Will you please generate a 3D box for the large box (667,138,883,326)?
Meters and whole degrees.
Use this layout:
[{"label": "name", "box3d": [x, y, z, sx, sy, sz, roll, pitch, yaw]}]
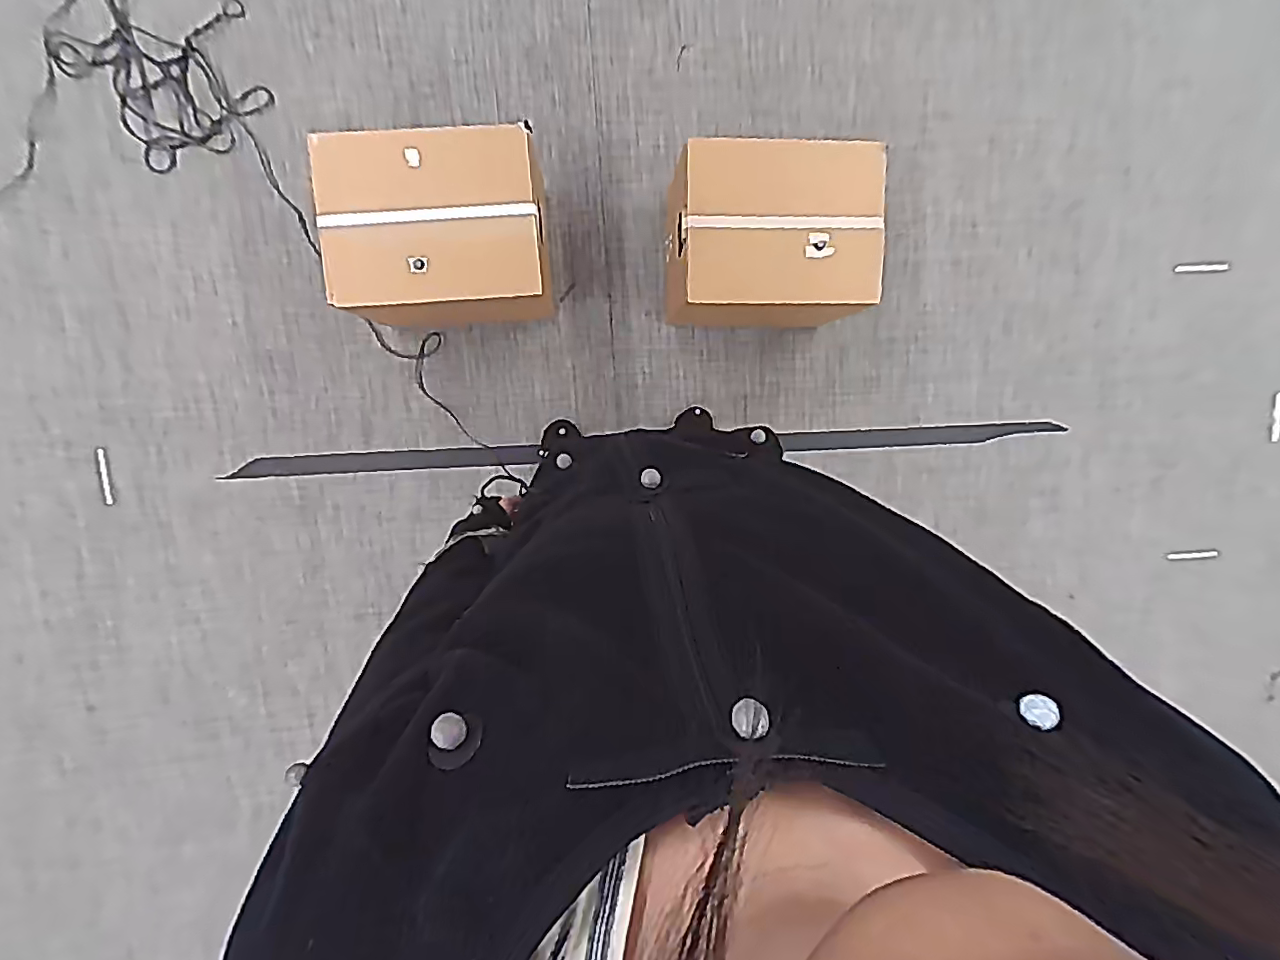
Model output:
[{"label": "large box", "box3d": [0.280, -0.536, 1.232, 0.408, 0.320, 0.320, -1, 98, -5]}]
